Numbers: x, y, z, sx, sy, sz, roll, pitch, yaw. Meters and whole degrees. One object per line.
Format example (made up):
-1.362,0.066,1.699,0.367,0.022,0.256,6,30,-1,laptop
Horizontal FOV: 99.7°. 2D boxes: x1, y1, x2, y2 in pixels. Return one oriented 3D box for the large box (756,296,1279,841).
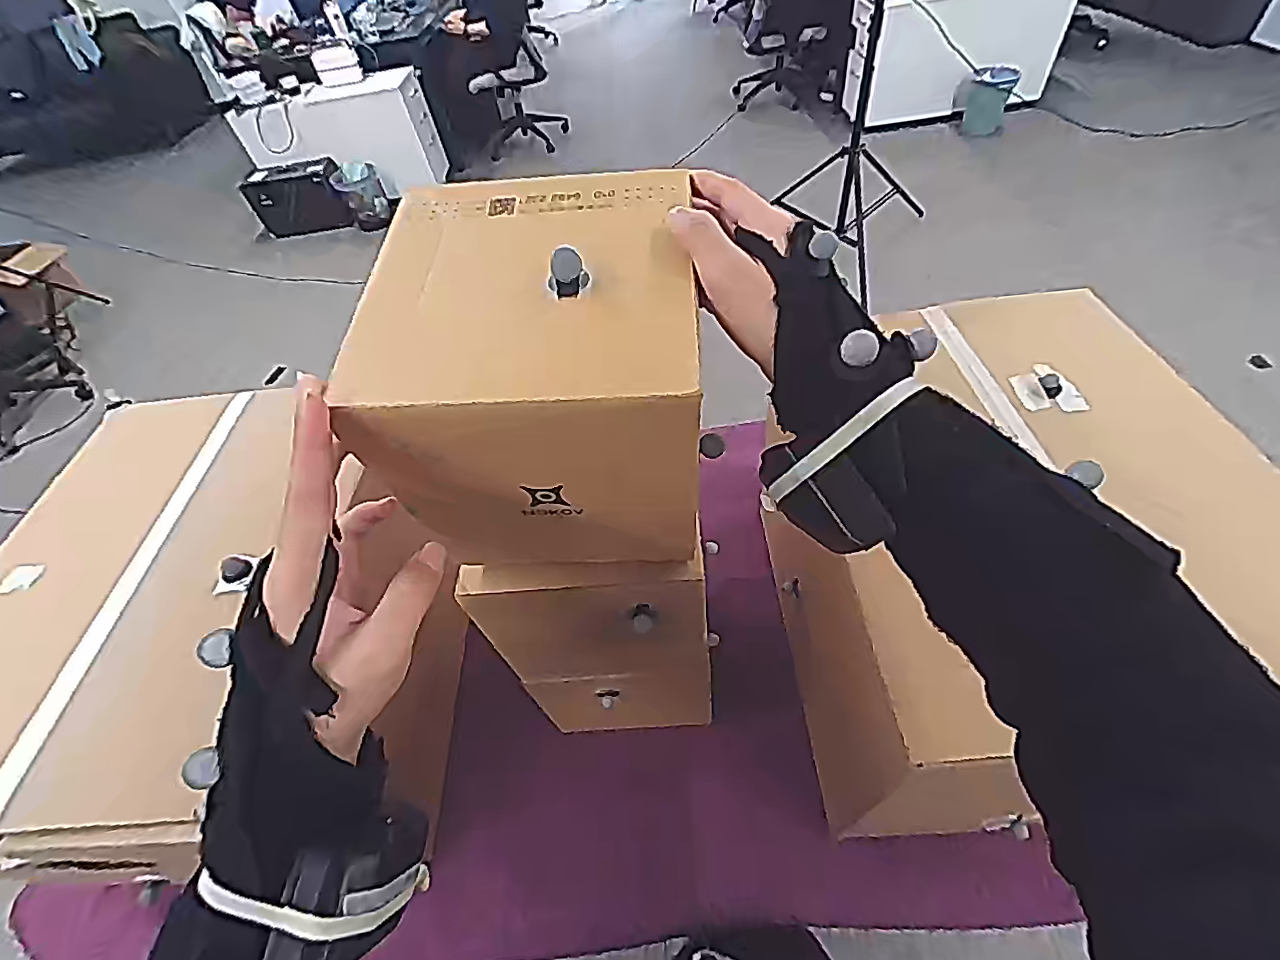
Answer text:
0.308,0.081,0.529,0.320,0.320,0.408,-7,49,2,large box
